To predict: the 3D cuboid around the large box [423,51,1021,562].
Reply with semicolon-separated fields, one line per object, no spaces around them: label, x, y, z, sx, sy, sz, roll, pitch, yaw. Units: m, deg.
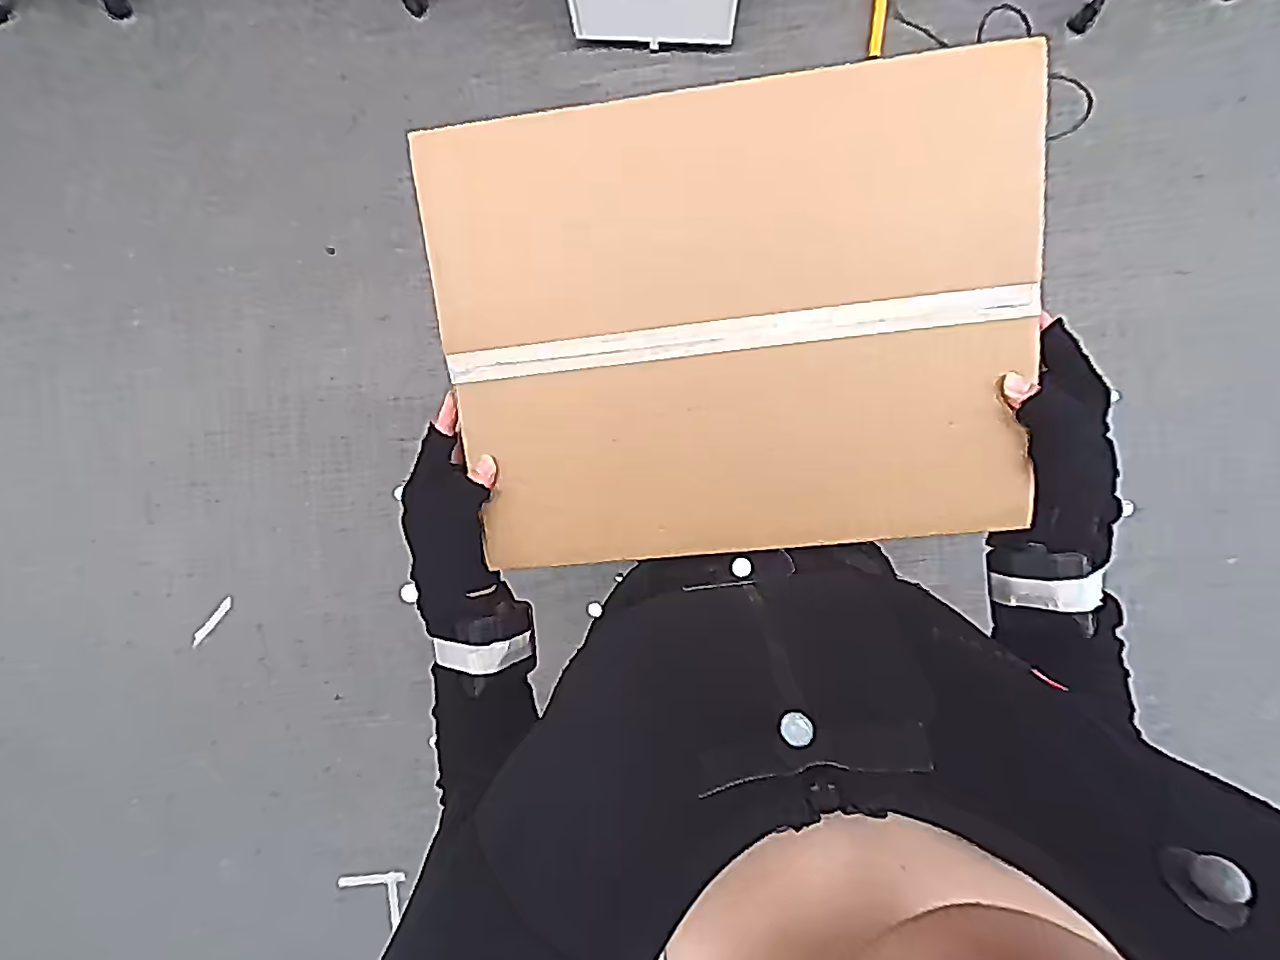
large box;0.069;-0.132;0.533;0.408;0.320;0.320;-5;103;5
